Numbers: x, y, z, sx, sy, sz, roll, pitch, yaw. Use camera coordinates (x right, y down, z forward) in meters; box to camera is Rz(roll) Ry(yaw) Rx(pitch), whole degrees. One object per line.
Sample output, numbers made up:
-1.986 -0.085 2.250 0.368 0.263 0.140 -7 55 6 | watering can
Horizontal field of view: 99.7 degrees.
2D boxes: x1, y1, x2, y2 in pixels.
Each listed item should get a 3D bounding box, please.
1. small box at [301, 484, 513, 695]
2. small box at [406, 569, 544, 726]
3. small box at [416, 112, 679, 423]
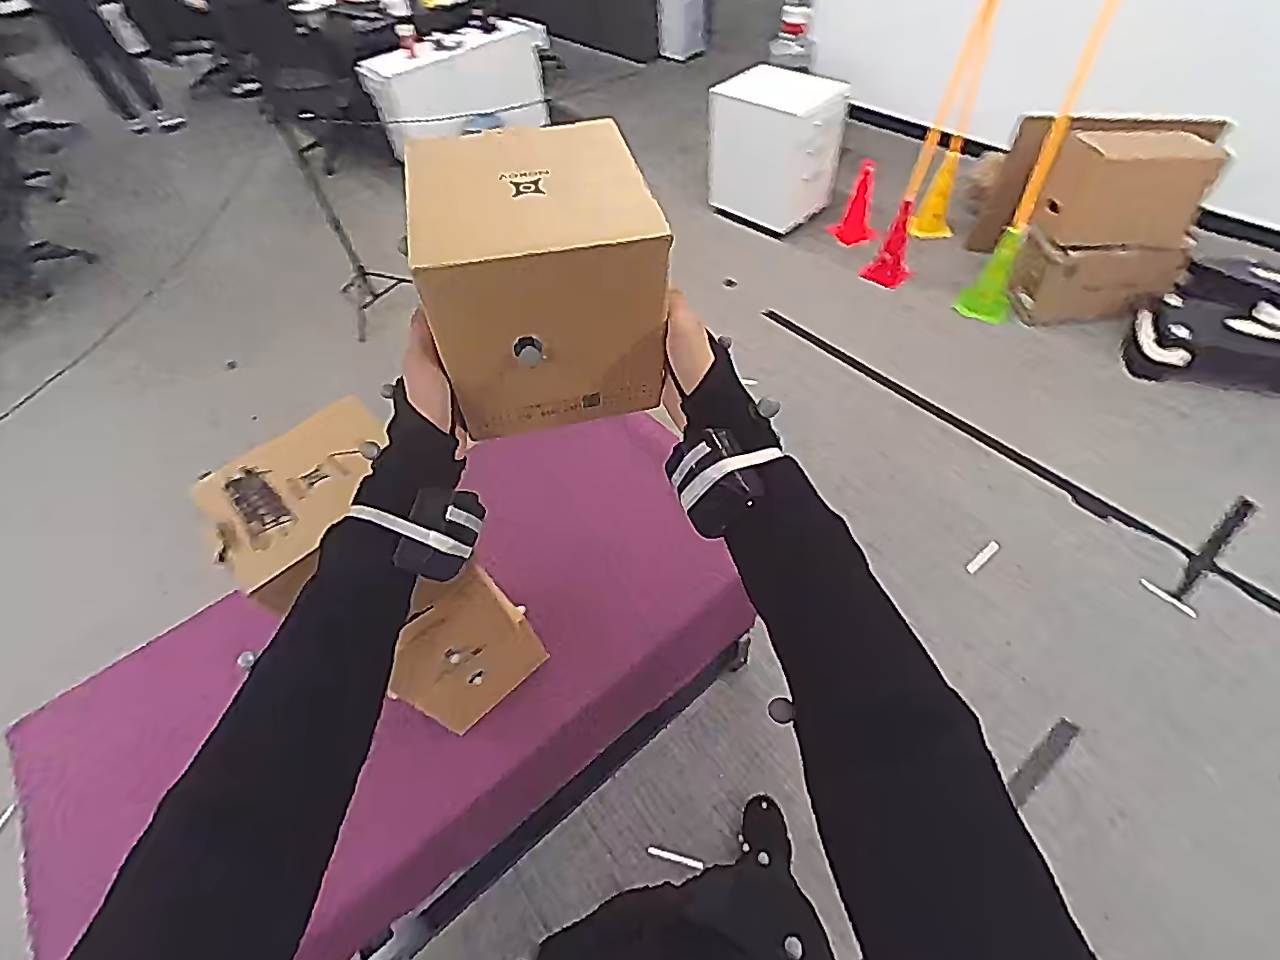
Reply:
-0.292 0.145 0.703 0.168 0.176 0.179 -34 57 -17 | small box
-0.275 0.245 0.832 0.179 0.176 0.168 -39 59 -21 | small box
-0.071 -0.163 0.441 0.168 0.176 0.179 -12 55 -8 | small box
